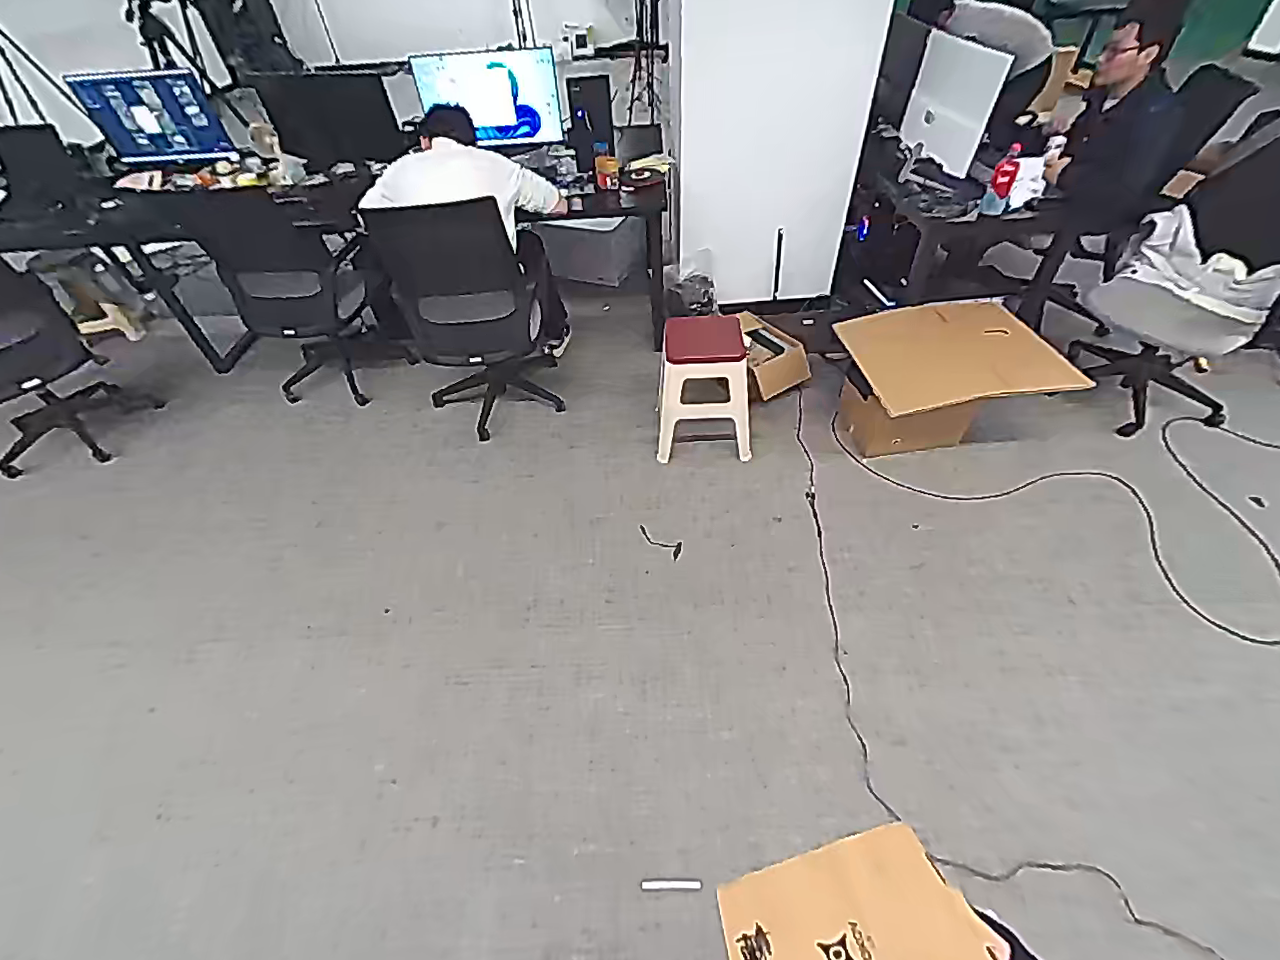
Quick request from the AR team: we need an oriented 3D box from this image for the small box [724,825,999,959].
[{"bbox_3d":[0.183,0.417,0.407,0.179,0.176,0.168,-20,9,1],"label":"small box"}]
